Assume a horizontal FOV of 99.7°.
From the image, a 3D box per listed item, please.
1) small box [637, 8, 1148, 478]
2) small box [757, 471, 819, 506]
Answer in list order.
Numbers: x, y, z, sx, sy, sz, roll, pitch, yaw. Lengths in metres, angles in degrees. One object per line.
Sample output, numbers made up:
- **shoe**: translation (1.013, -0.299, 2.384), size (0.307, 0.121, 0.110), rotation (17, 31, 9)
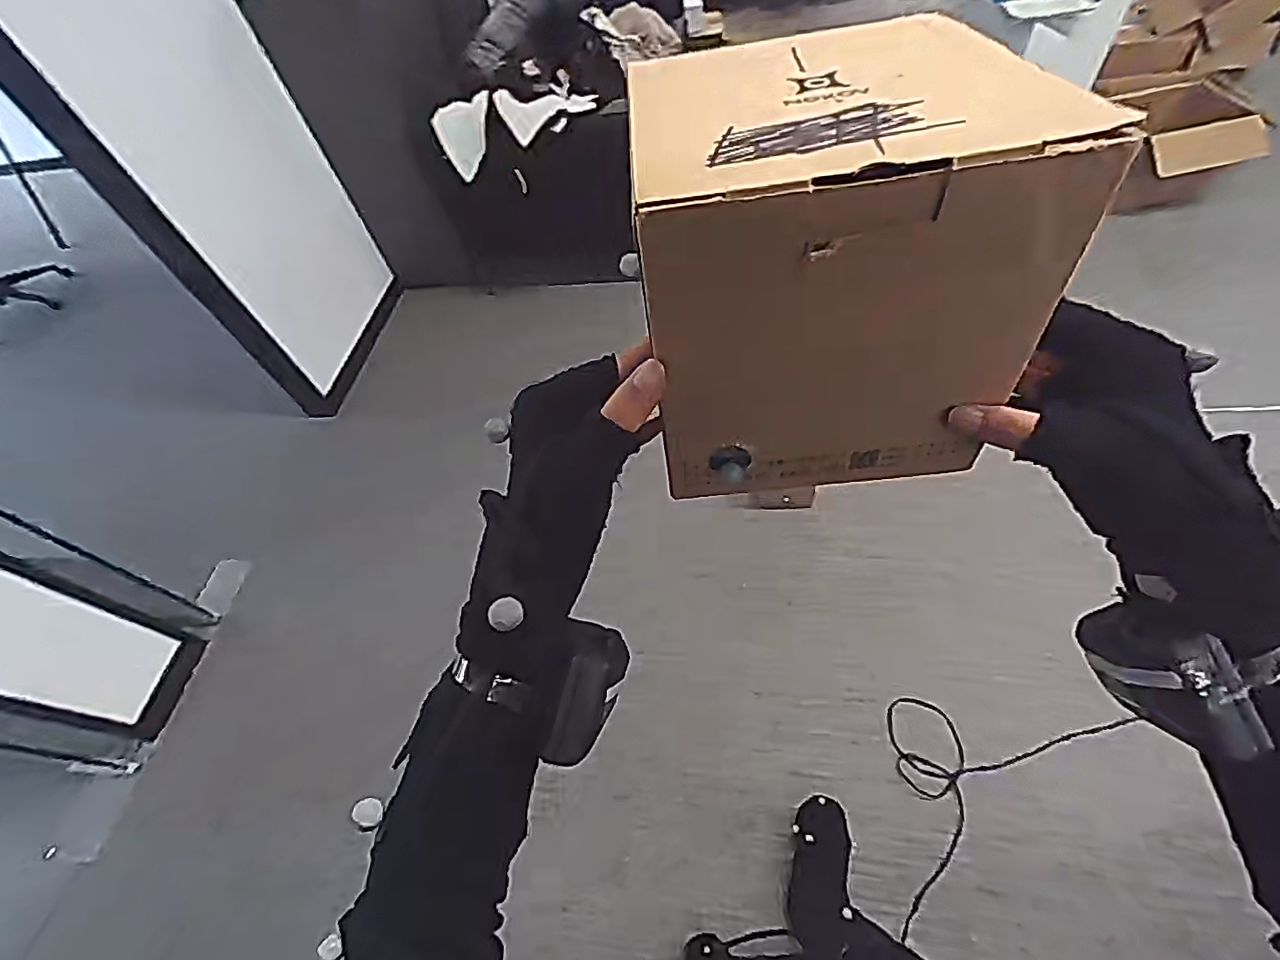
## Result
- **small box**: translation (0.092, -0.114, 0.292), size (0.168, 0.176, 0.179), rotation (-6, 50, 5)
- **small box**: translation (0.441, -0.039, 1.635), size (0.168, 0.176, 0.179), rotation (0, 56, 11)
